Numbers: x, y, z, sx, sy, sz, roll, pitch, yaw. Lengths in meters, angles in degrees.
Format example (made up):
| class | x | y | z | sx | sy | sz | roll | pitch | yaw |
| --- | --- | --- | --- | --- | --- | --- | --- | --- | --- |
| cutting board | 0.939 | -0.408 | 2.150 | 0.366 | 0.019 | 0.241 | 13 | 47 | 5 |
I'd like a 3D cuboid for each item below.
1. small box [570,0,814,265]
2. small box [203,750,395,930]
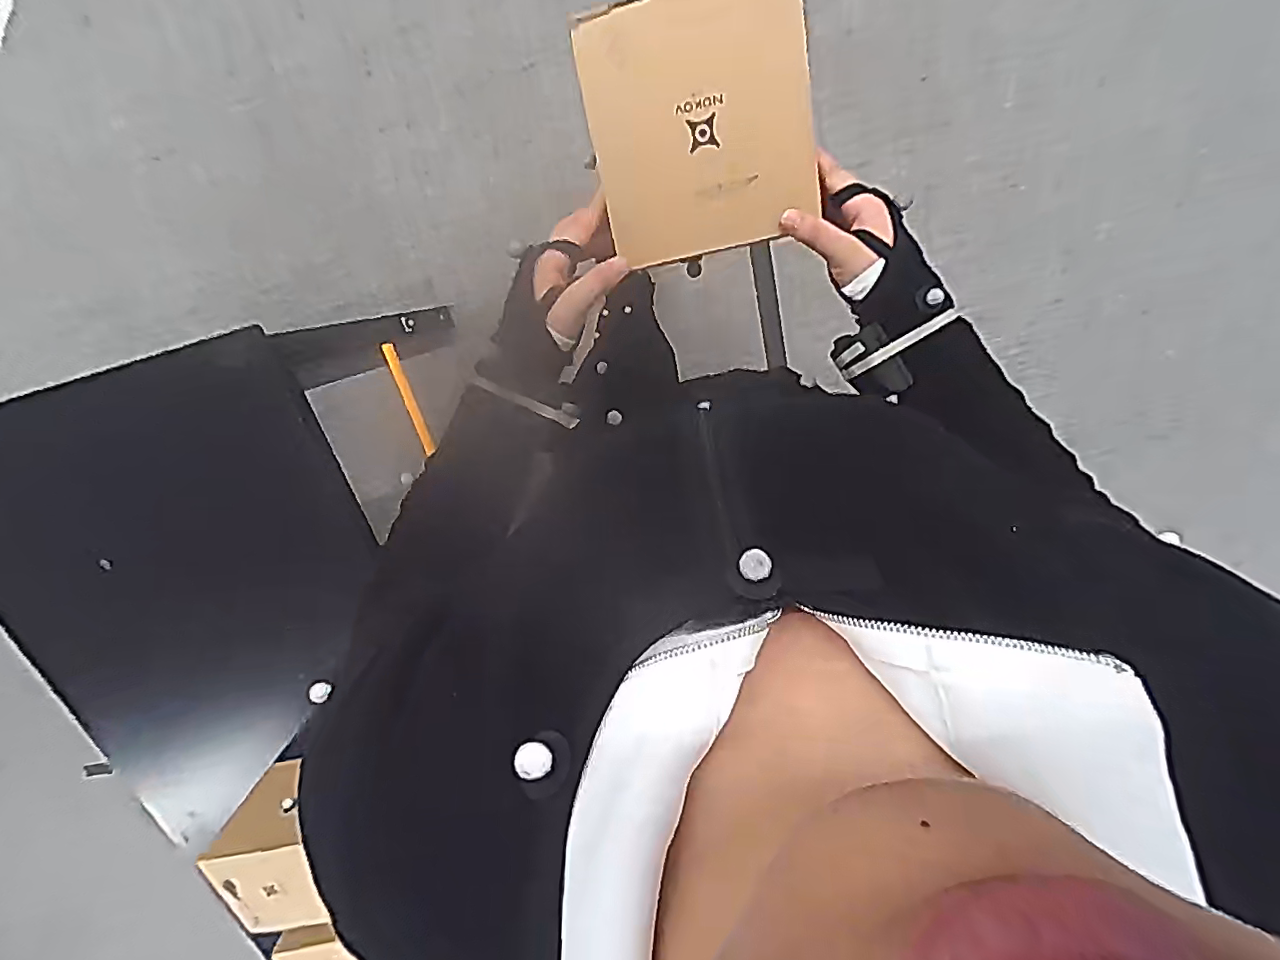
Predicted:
| class | x | y | z | sx | sy | sz | roll | pitch | yaw |
| --- | --- | --- | --- | --- | --- | --- | --- | --- | --- |
| small box | 0.043 | -0.301 | 0.485 | 0.168 | 0.176 | 0.179 | -11 | 110 | 5 |
| small box | -0.521 | 0.564 | 0.864 | 0.179 | 0.176 | 0.168 | -14 | 109 | 5 |
